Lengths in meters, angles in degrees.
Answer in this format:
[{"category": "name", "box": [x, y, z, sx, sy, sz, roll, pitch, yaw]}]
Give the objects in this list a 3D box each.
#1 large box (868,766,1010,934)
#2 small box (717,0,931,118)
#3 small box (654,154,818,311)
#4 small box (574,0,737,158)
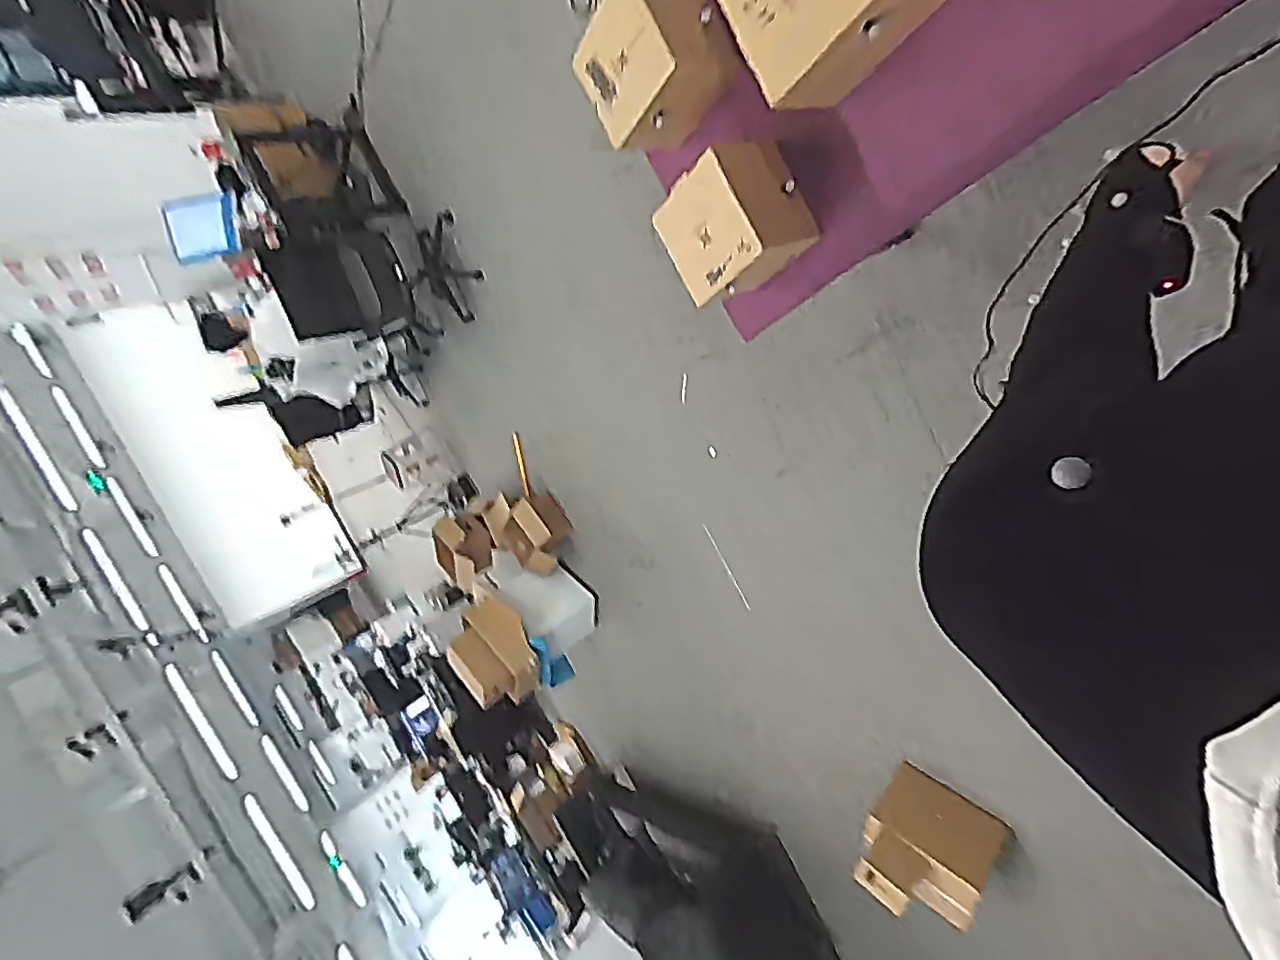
[{"category": "large box", "box": [1.186, 1.461, 2.172, 0.408, 0.320, 0.320, 21, 131, 41]}, {"category": "small box", "box": [0.239, -0.602, 0.685, 0.179, 0.176, 0.168, -23, 96, 55]}, {"category": "small box", "box": [0.162, -0.416, 0.913, 0.168, 0.176, 0.179, -27, 91, 55]}, {"category": "small box", "box": [0.026, -0.673, 0.898, 0.179, 0.176, 0.168, -24, 96, 54]}]
